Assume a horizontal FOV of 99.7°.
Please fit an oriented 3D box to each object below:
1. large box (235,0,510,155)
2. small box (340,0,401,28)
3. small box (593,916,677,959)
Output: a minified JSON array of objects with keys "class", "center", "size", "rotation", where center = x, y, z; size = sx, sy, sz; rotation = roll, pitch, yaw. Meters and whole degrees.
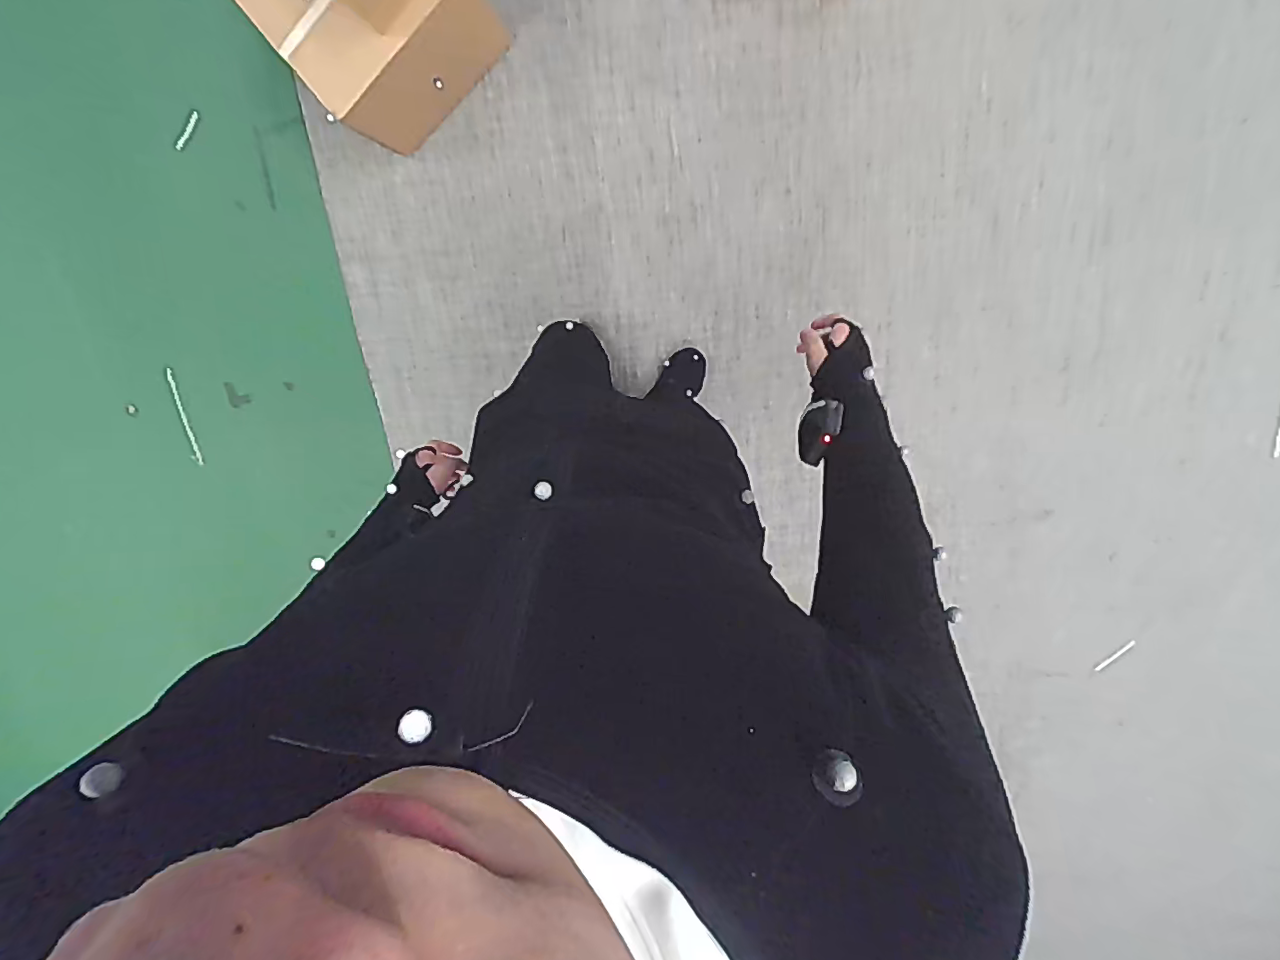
[{"class":"large box","center":[-0.572,-1.037,1.212],"size":[0.408,0.320,0.320],"rotation":[-37,100,16]},{"class":"small box","center":[-0.517,-0.979,0.964],"size":[0.179,0.176,0.168],"rotation":[-37,102,15]},{"class":"small box","center":[-0.010,1.059,1.134],"size":[0.168,0.176,0.179],"rotation":[-5,109,7]}]
